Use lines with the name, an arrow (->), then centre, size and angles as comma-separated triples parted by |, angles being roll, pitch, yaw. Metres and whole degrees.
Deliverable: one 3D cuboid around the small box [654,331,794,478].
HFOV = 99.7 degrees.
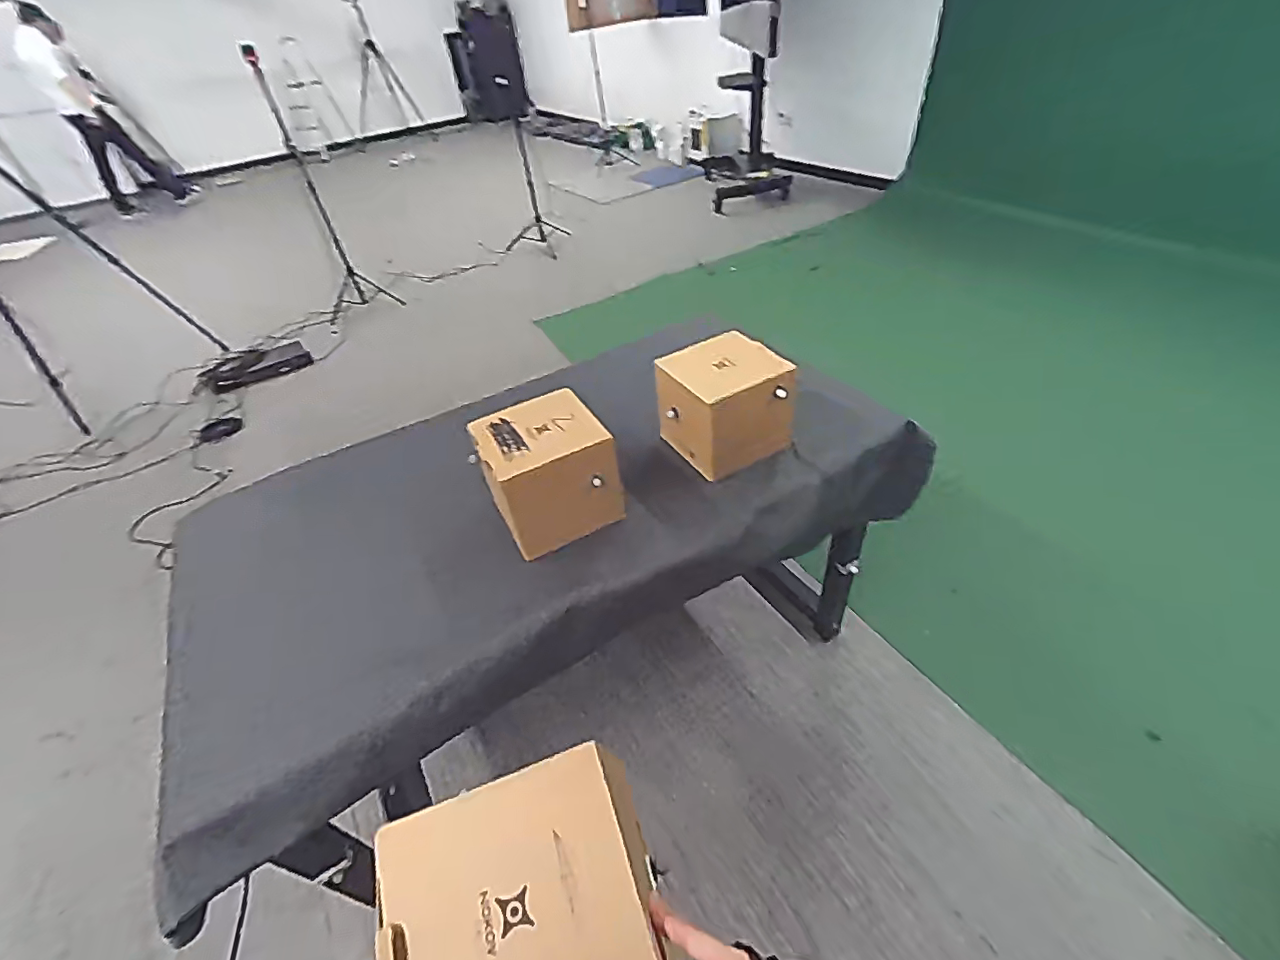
small box -> 0.145, -0.131, 0.944 | 0.179, 0.176, 0.168 | -25, 45, -18
